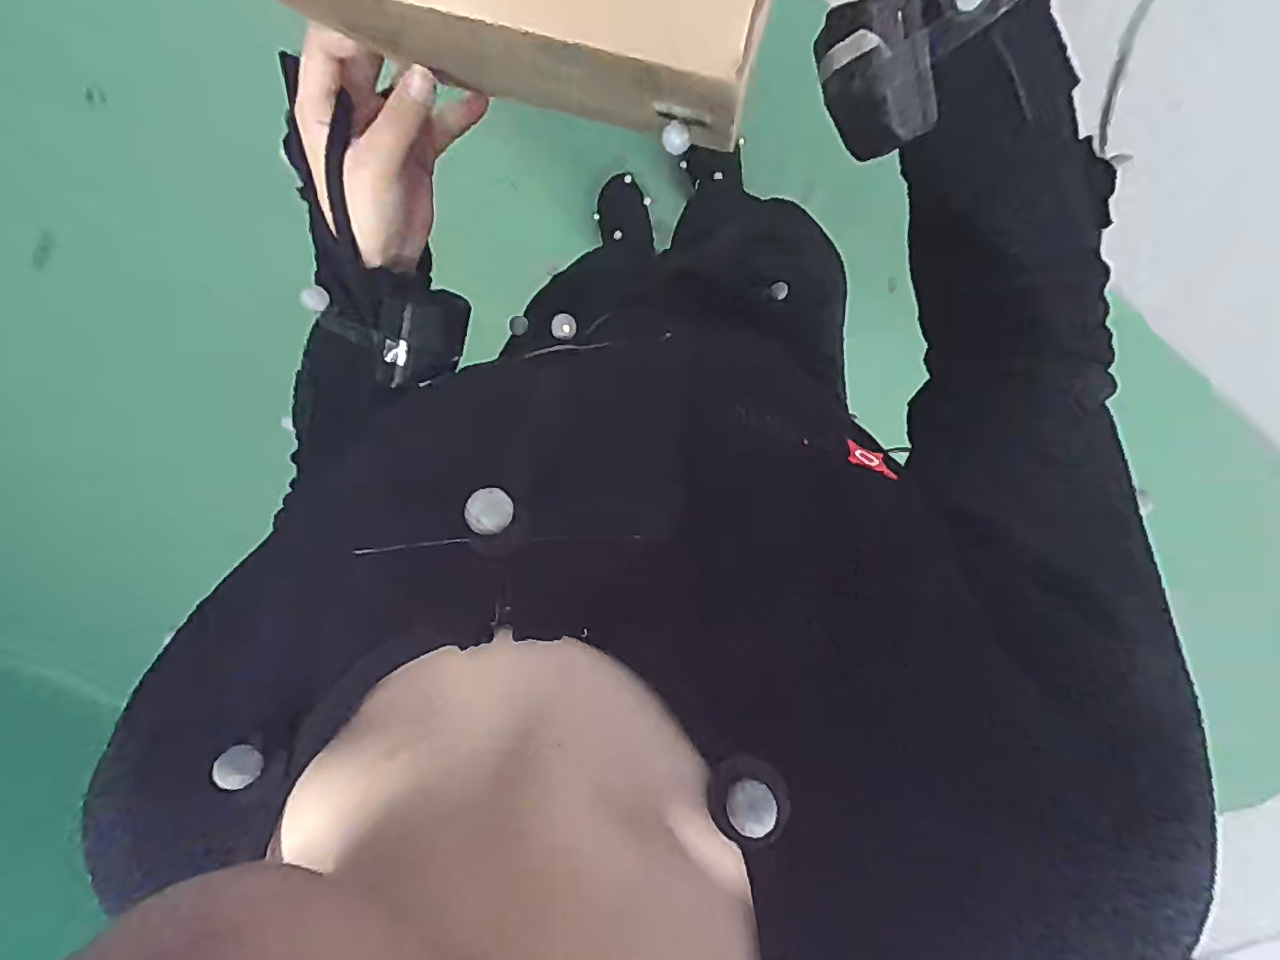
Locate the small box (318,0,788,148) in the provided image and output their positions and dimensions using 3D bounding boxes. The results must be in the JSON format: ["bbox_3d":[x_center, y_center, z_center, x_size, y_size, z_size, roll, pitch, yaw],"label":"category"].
[{"bbox_3d":[-0.016,-0.252,0.202,0.176,0.168,0.179,15,116,2],"label":"small box"}]
